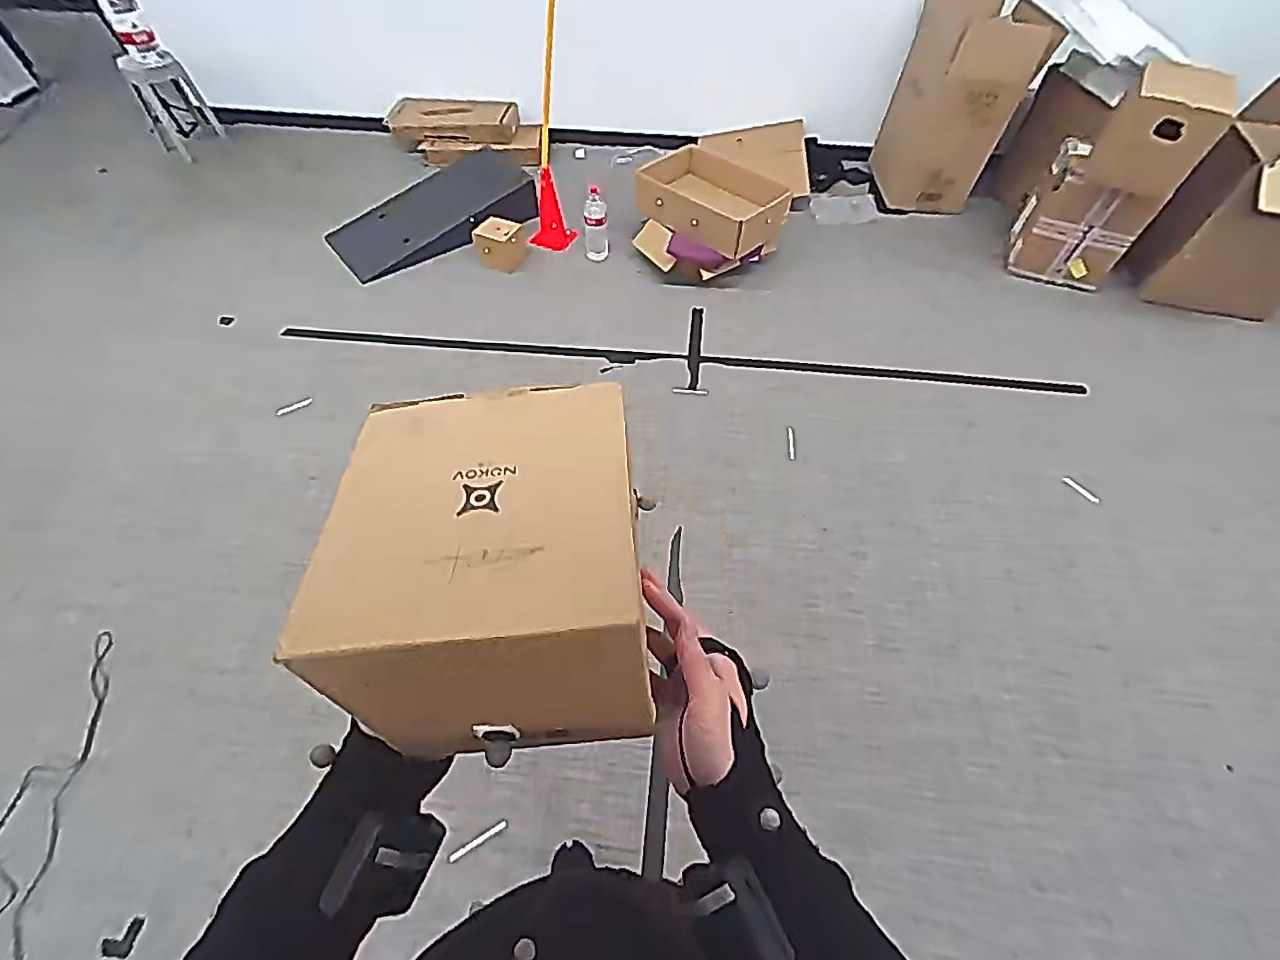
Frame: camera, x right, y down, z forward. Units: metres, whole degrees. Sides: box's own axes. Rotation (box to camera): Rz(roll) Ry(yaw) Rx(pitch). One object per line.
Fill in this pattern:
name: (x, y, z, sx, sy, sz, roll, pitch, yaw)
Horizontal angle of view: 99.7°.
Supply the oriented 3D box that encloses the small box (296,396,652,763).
small box: (-0.082, 0.067, 0.366, 0.168, 0.176, 0.179, -6, 48, -1)
